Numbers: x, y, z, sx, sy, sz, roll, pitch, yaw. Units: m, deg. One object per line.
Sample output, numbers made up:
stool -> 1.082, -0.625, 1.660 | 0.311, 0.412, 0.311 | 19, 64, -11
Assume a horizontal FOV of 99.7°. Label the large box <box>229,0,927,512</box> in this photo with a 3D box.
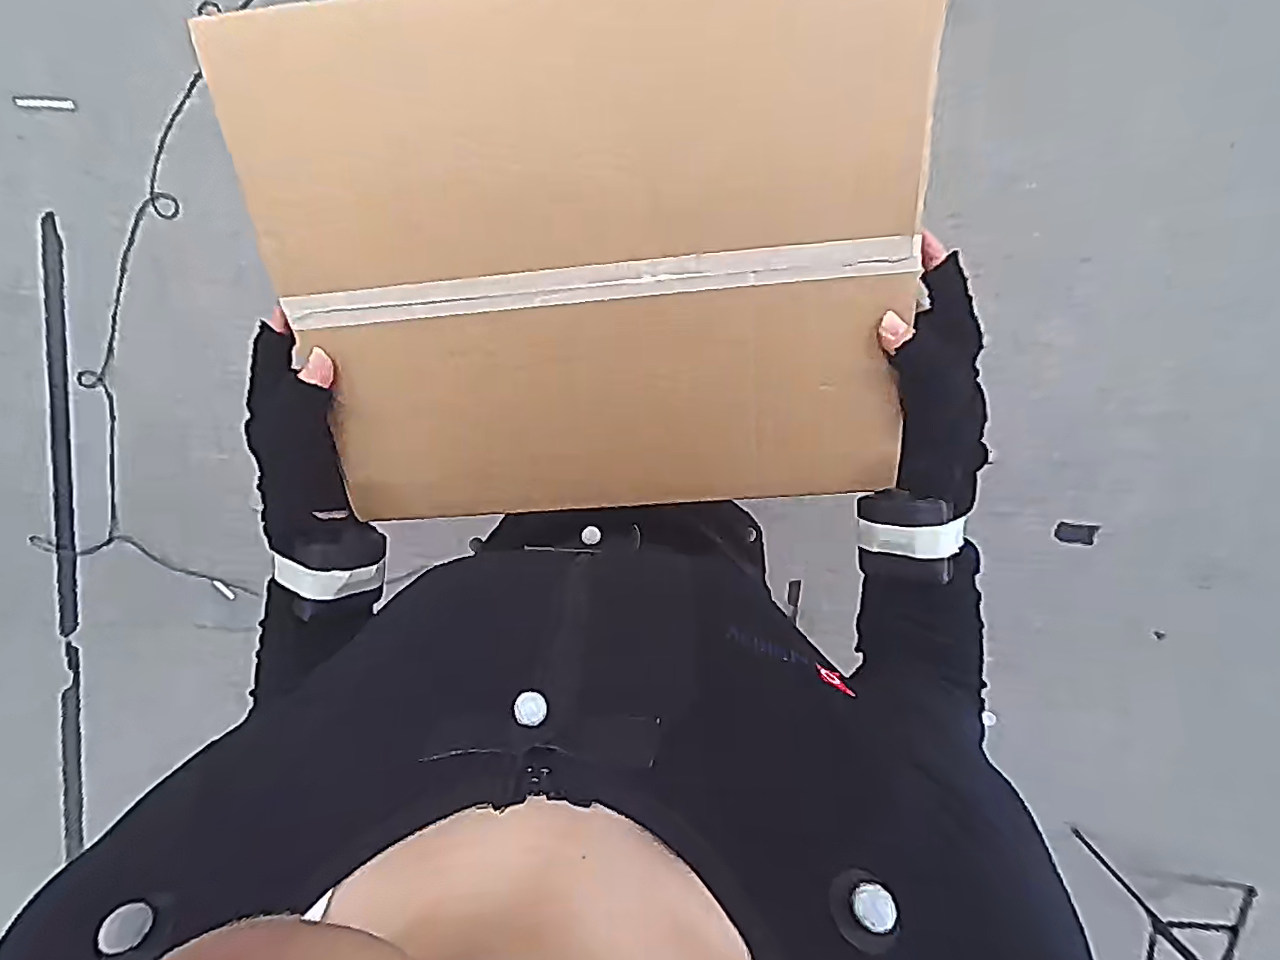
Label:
large box -> -0.026, -0.188, 0.492 | 0.408, 0.320, 0.320 | -4, 115, 4
